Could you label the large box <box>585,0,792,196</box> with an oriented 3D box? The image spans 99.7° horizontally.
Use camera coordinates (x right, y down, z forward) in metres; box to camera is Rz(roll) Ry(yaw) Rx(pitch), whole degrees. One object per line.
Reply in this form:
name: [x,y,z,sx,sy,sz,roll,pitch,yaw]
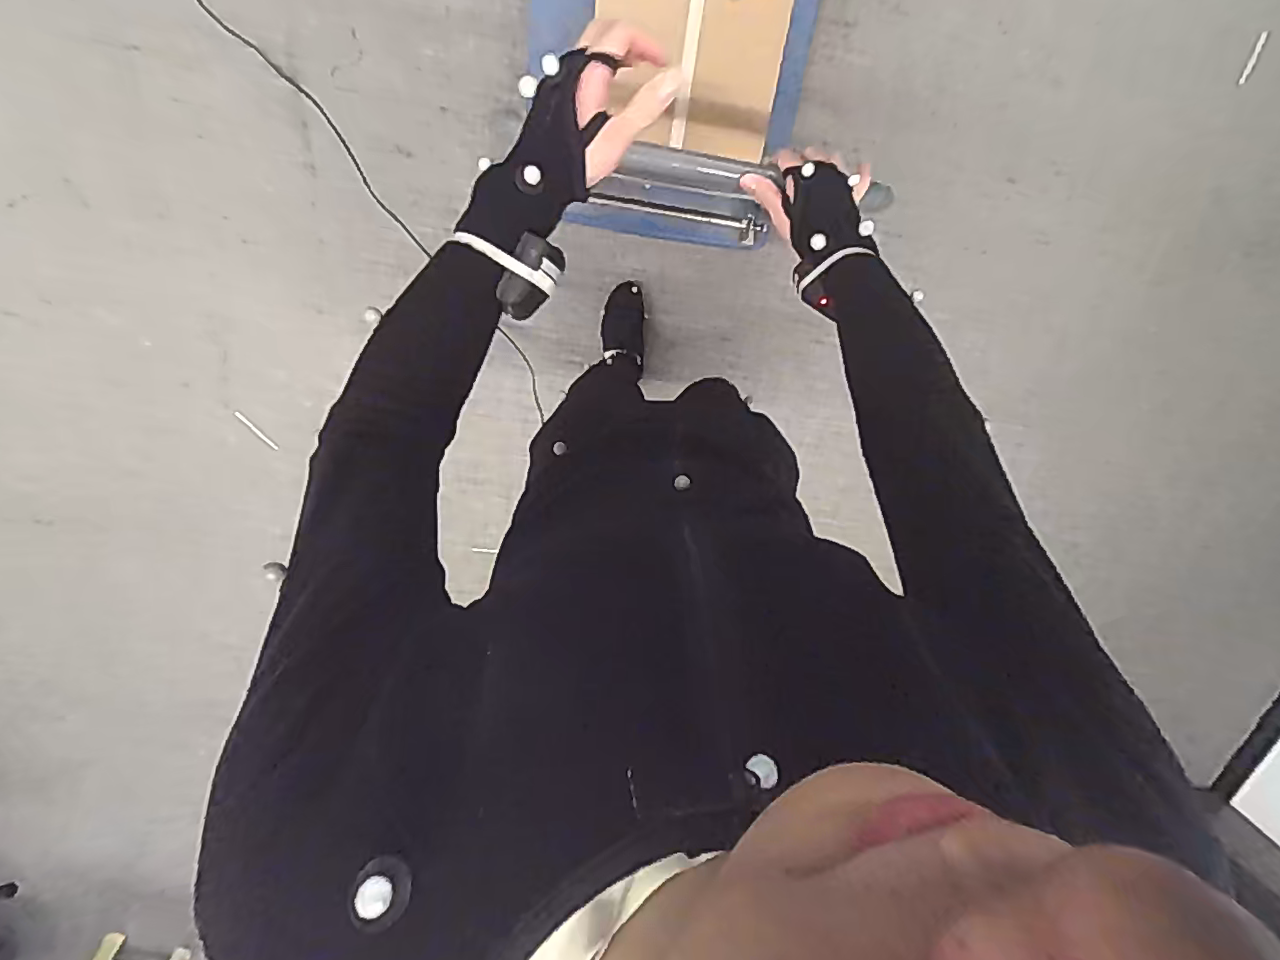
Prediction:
large box: [0.077,-0.787,1.004,0.320,0.320,0.408,6,110,-7]
